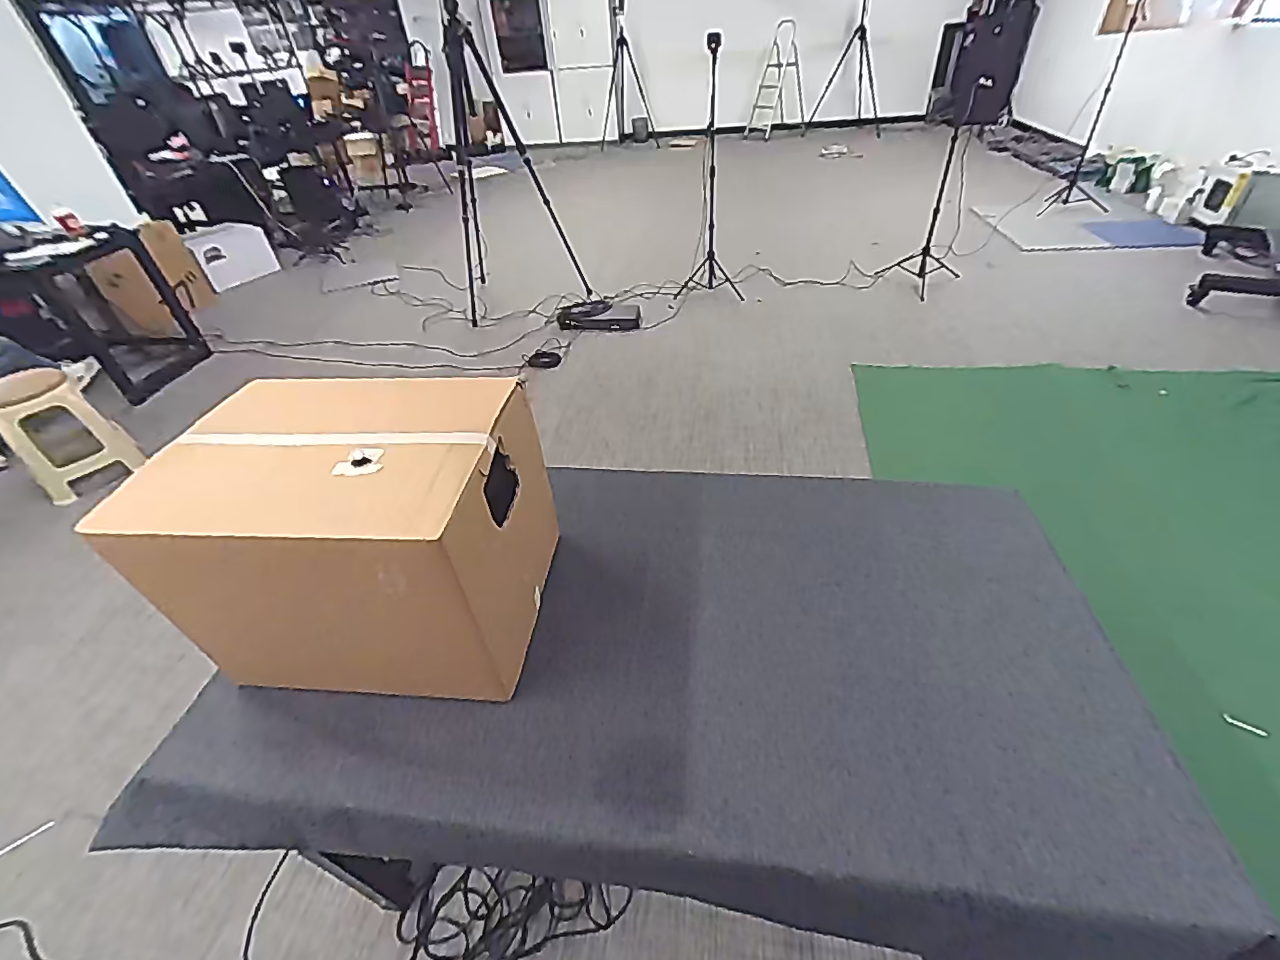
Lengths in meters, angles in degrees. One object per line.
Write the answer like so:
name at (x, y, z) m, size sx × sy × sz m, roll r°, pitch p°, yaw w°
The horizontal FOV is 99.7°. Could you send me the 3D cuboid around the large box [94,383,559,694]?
large box at (-0.354, 0.073, 0.750) m, size 0.408 × 0.320 × 0.320 m, roll 1°, pitch 41°, yaw 5°
